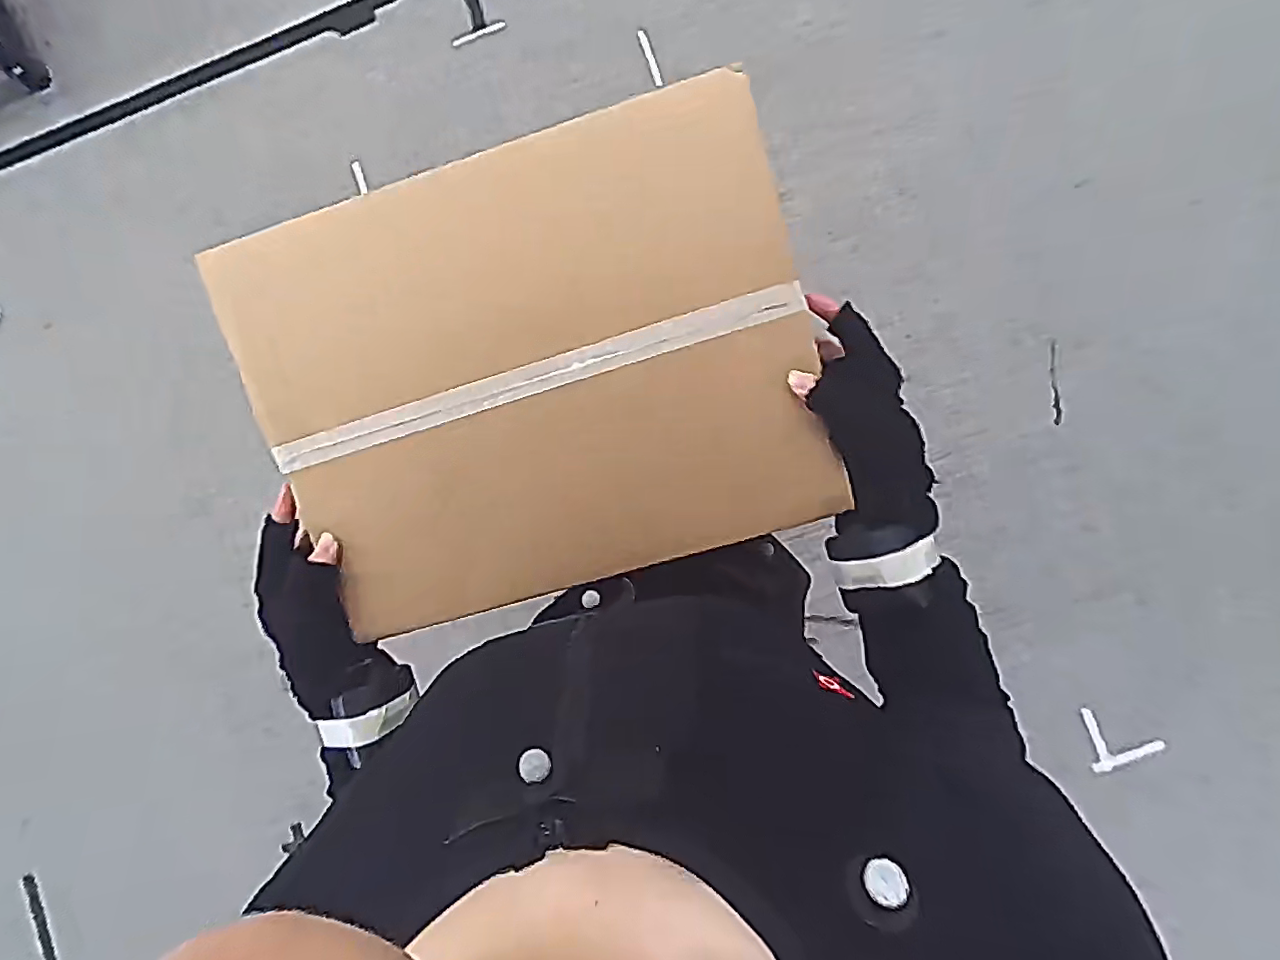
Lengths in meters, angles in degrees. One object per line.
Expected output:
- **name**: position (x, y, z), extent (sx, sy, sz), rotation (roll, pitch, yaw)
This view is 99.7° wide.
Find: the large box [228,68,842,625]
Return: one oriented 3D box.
- **large box**: position (-0.072, -0.102, 0.552), extent (0.408, 0.320, 0.320), rotation (-16, 99, 5)
